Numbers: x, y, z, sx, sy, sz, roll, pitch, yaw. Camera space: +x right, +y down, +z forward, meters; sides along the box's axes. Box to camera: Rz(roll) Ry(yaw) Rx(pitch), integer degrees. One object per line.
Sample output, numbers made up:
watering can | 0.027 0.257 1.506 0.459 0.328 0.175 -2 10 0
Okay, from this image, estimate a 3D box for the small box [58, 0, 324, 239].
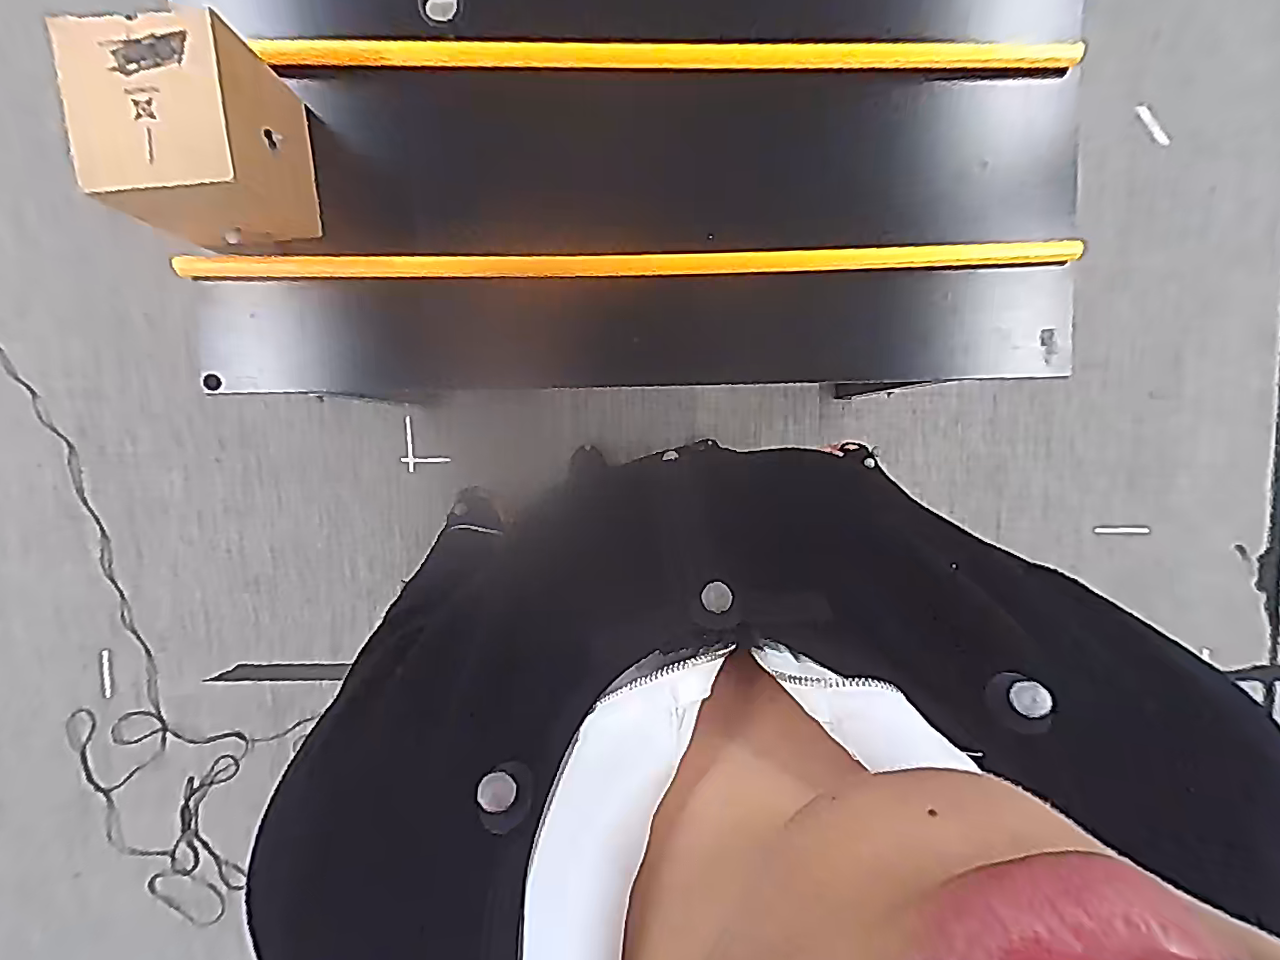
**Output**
small box | -0.508 -0.409 0.640 0.168 0.176 0.179 -5 96 -1
